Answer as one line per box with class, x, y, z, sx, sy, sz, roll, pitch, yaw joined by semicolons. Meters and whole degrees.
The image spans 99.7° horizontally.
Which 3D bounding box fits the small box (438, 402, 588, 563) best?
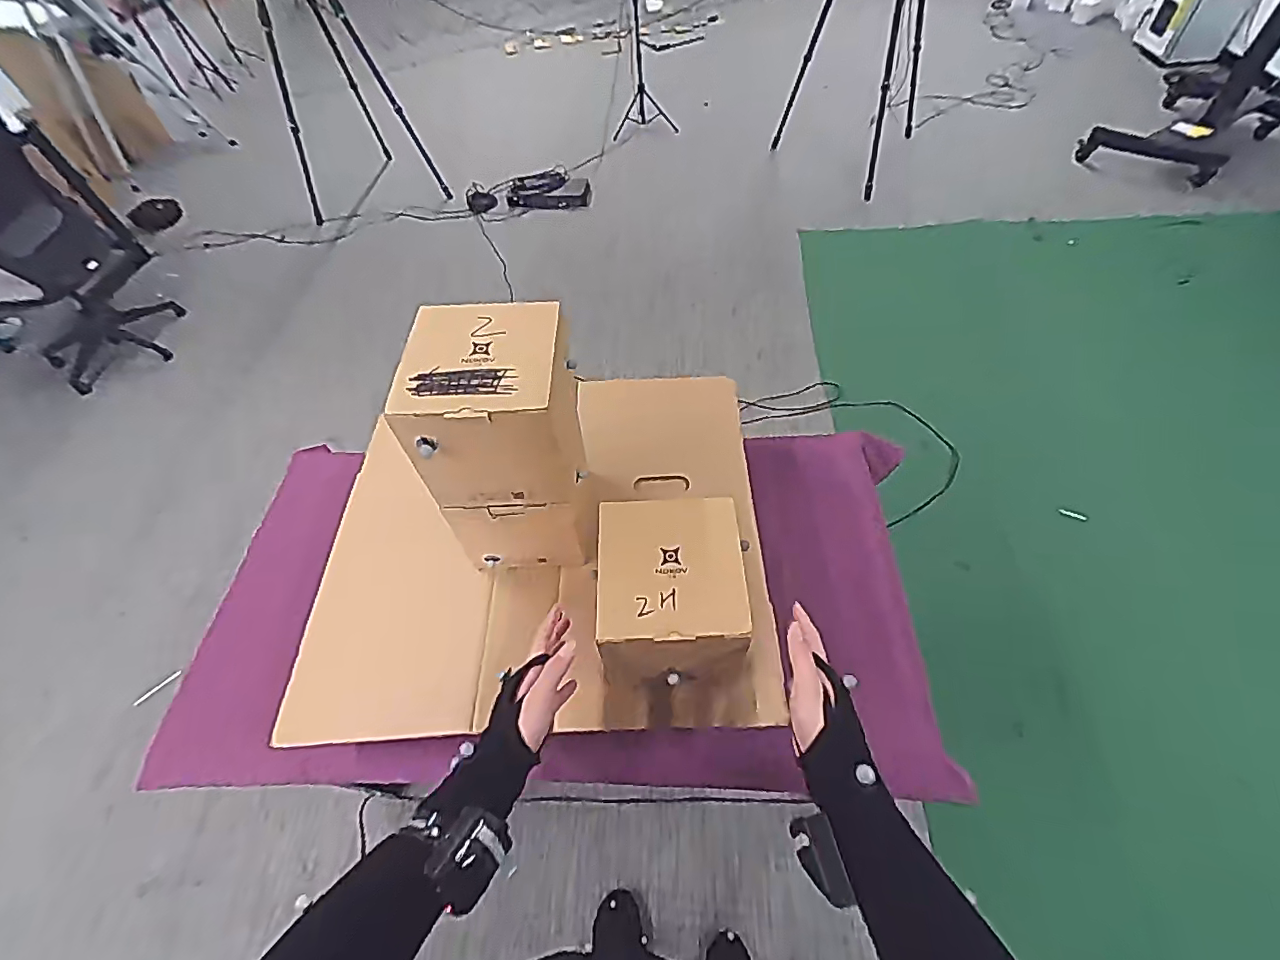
small box;-0.166;0.010;0.773;0.168;0.176;0.179;-2;54;0
